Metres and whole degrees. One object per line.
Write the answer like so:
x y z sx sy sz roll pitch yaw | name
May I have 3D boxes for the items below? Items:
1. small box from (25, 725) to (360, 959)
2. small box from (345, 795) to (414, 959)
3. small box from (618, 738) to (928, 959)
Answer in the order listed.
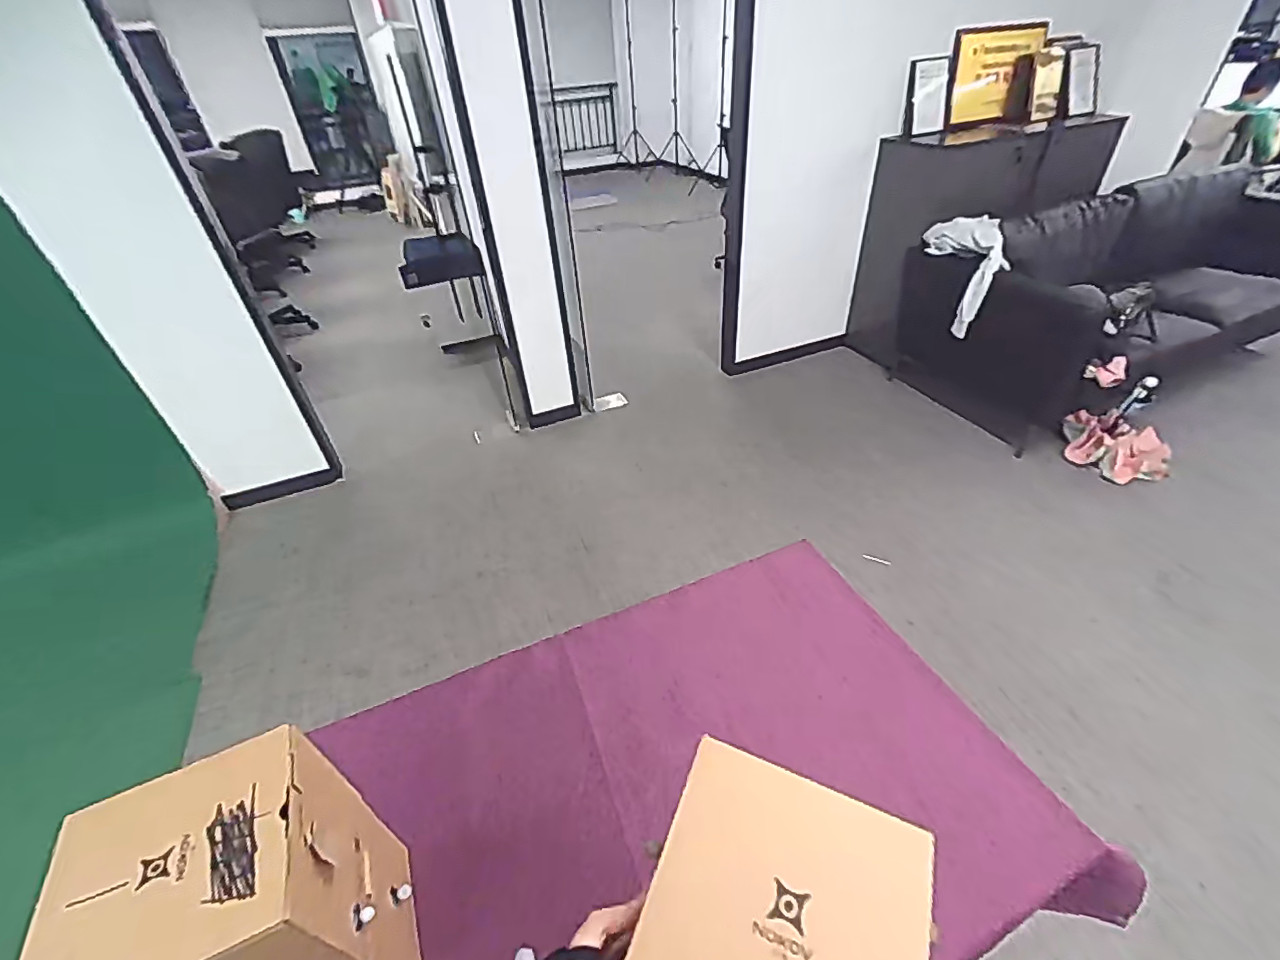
-0.366 0.361 0.479 0.179 0.176 0.168 -20 42 -17 | small box
-0.358 0.489 0.584 0.179 0.176 0.168 -19 42 -18 | small box
0.087 0.333 0.395 0.168 0.176 0.179 18 49 19 | small box
